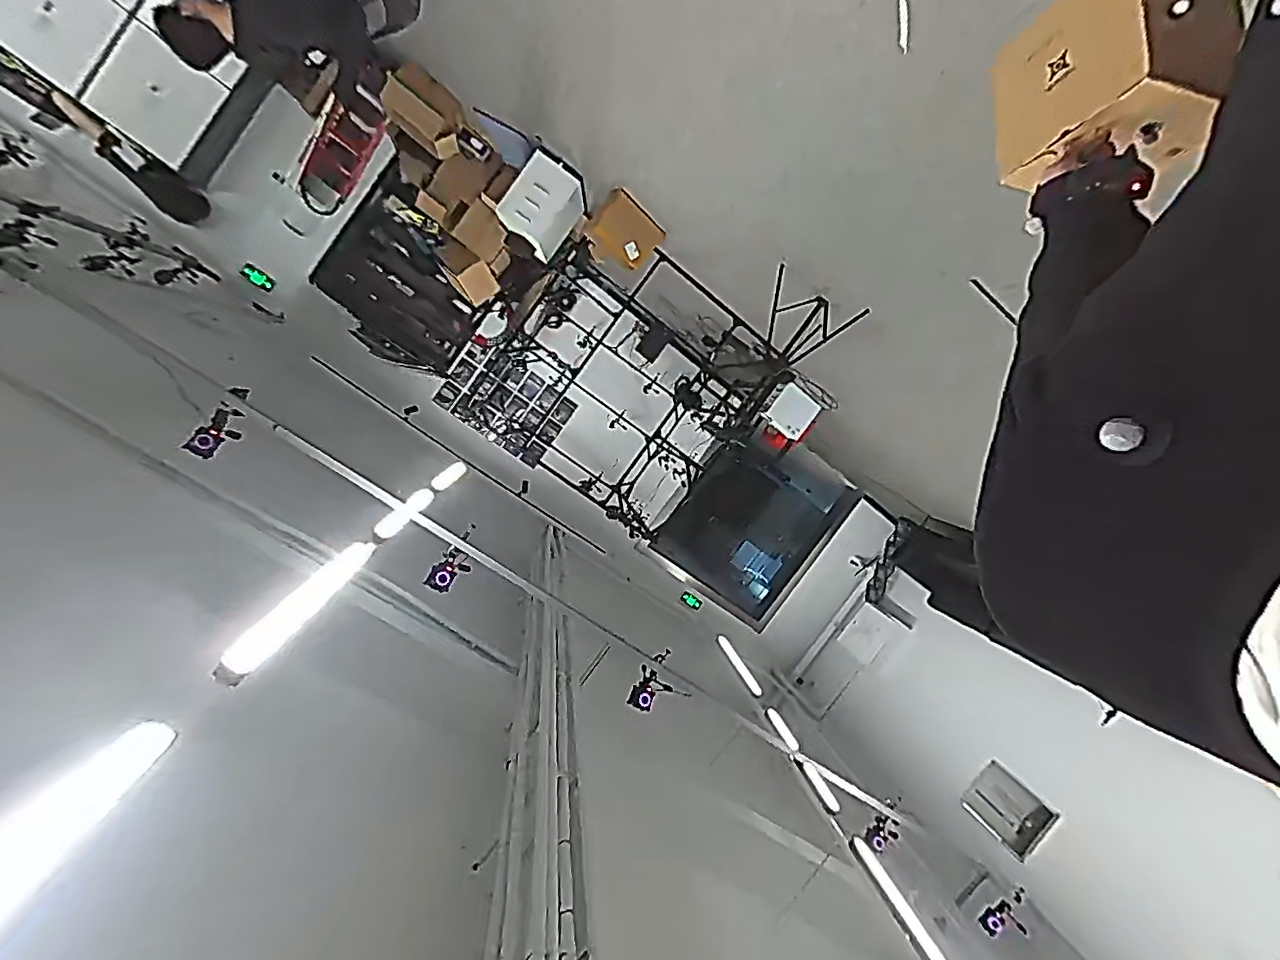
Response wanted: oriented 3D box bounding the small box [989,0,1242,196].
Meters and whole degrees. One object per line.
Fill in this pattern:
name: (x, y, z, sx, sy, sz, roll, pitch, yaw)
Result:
small box: (0.558, -0.468, 0.646, 0.176, 0.179, 0.168, 3, 173, -17)
